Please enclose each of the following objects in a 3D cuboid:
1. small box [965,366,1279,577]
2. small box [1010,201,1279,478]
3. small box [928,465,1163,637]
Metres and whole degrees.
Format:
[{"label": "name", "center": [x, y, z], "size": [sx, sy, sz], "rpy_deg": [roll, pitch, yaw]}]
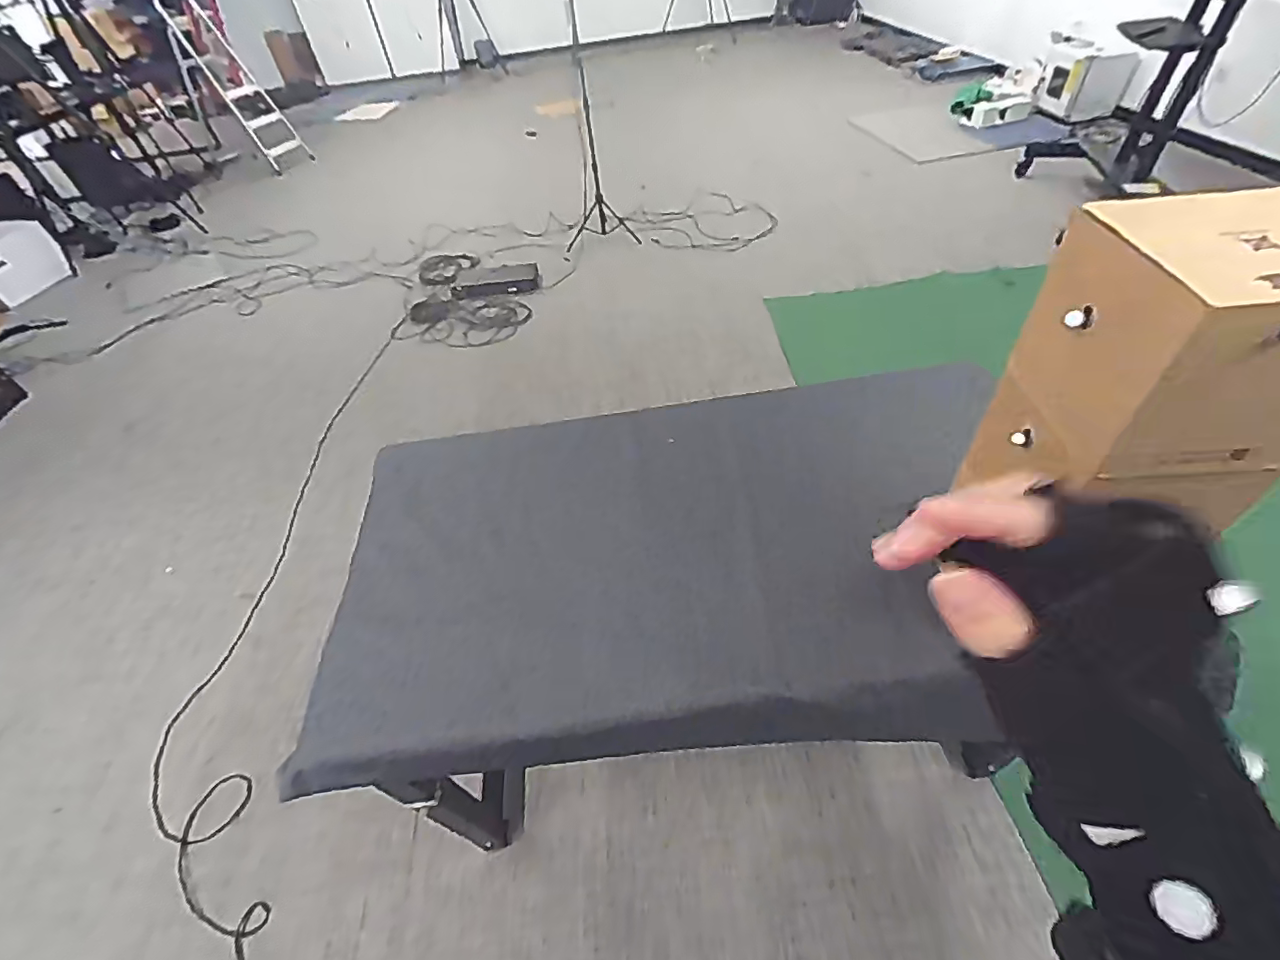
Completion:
[{"label": "small box", "center": [0.492, -0.012, 0.595], "size": [0.168, 0.176, 0.179], "rpy_deg": [-3, 48, 7]}, {"label": "small box", "center": [0.469, -0.121, 0.475], "size": [0.168, 0.176, 0.179], "rpy_deg": [-3, 46, 7]}, {"label": "small box", "center": [0.511, 0.095, 0.715], "size": [0.168, 0.176, 0.179], "rpy_deg": [-3, 46, 6]}]
